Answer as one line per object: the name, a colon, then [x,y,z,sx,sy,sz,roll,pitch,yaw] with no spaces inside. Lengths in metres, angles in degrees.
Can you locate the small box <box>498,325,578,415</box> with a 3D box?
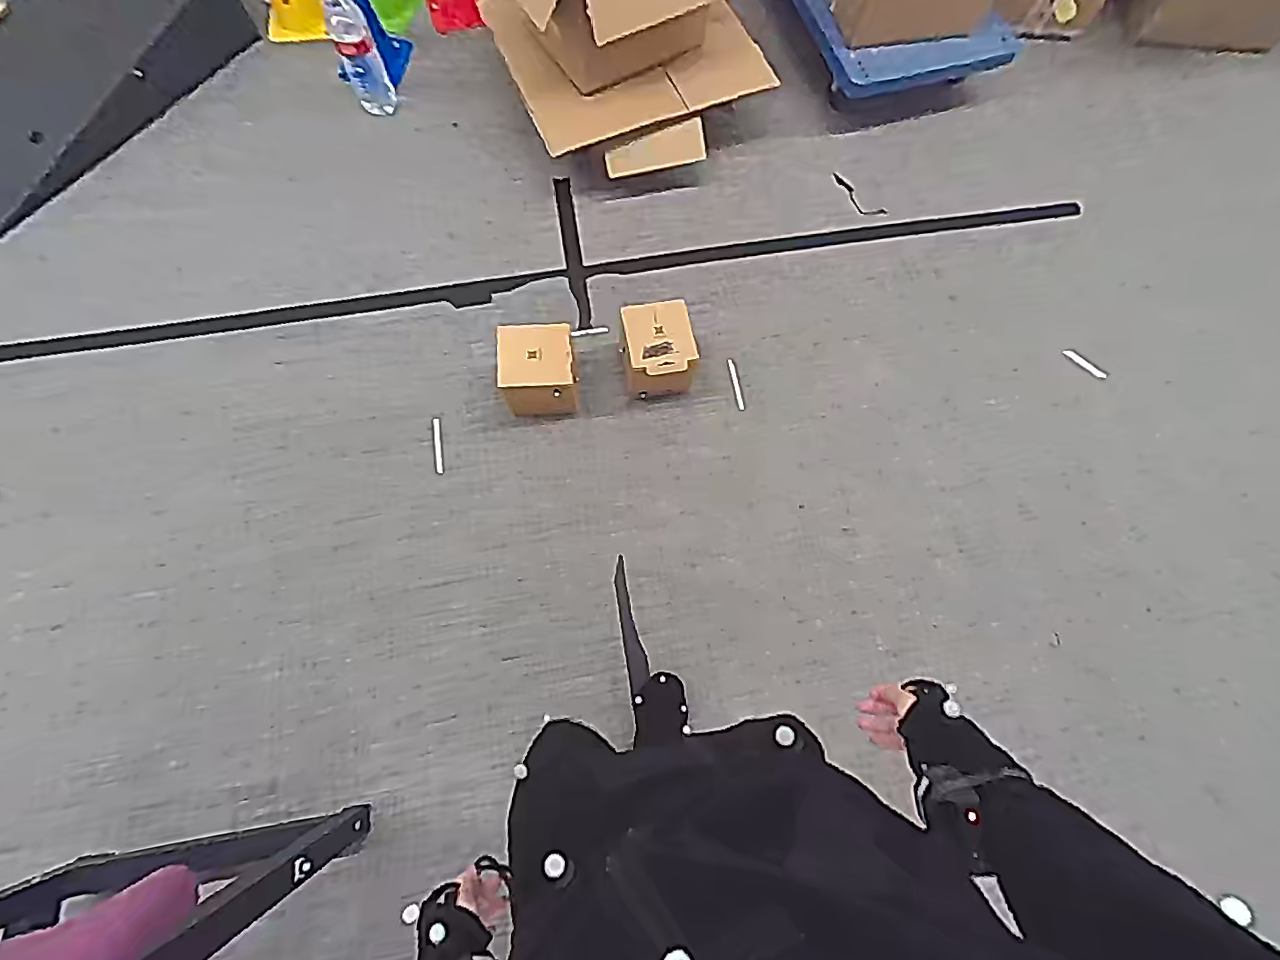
small box: [-0.252,-0.270,1.356,0.179,0.176,0.168,-3,74,-4]

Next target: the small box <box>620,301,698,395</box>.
small box: [0.043,-0.330,1.389,0.168,0.176,0.179,-10,74,-7]
